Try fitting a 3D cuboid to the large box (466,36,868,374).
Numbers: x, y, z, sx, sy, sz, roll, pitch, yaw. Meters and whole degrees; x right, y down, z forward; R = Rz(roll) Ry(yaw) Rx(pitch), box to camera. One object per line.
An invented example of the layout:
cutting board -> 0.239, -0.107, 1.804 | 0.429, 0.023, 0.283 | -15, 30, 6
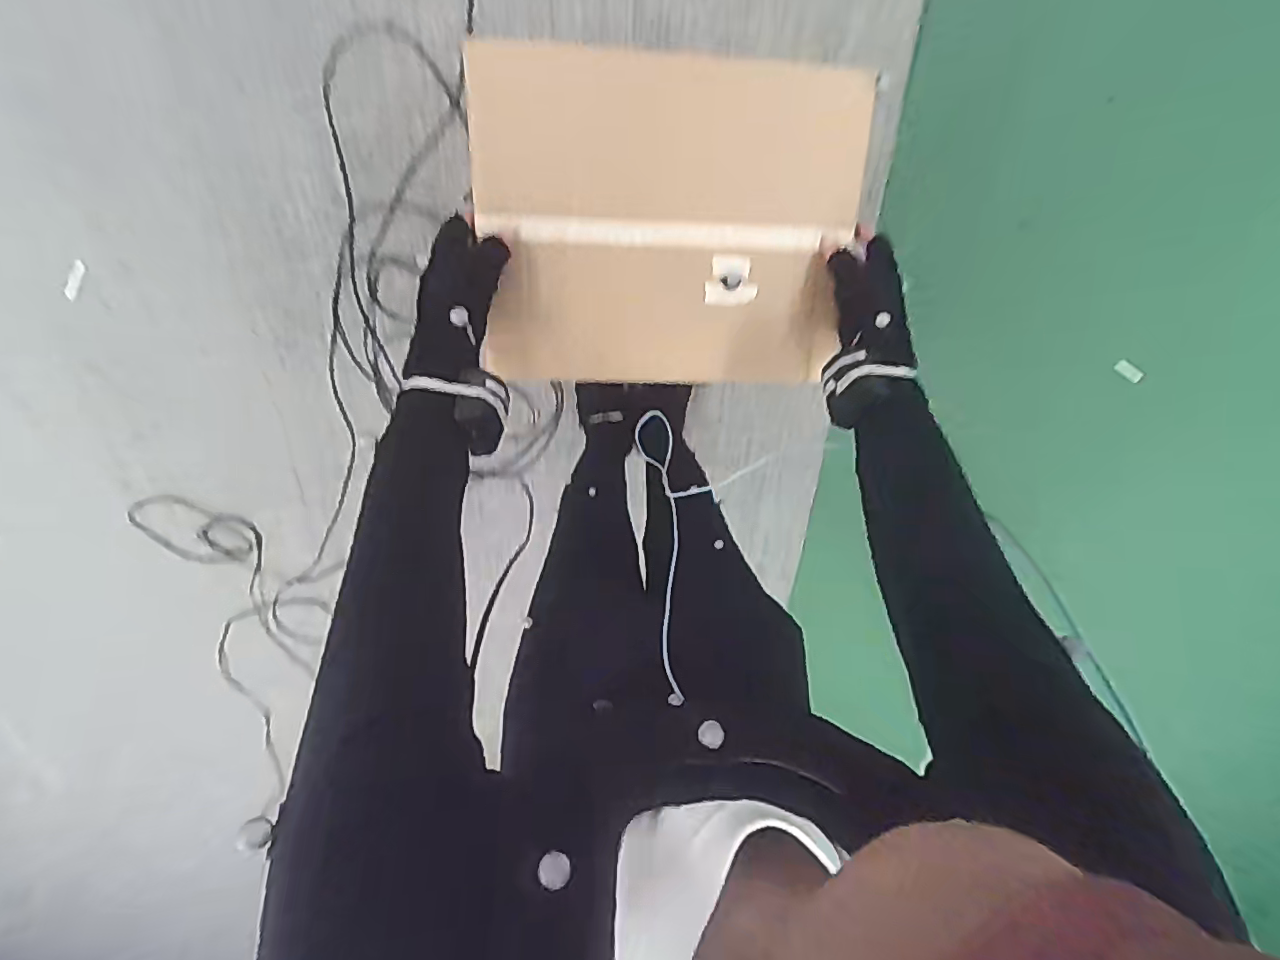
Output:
large box -> 0.013, -0.317, 0.710 | 0.408, 0.320, 0.320 | -1, 110, -7
